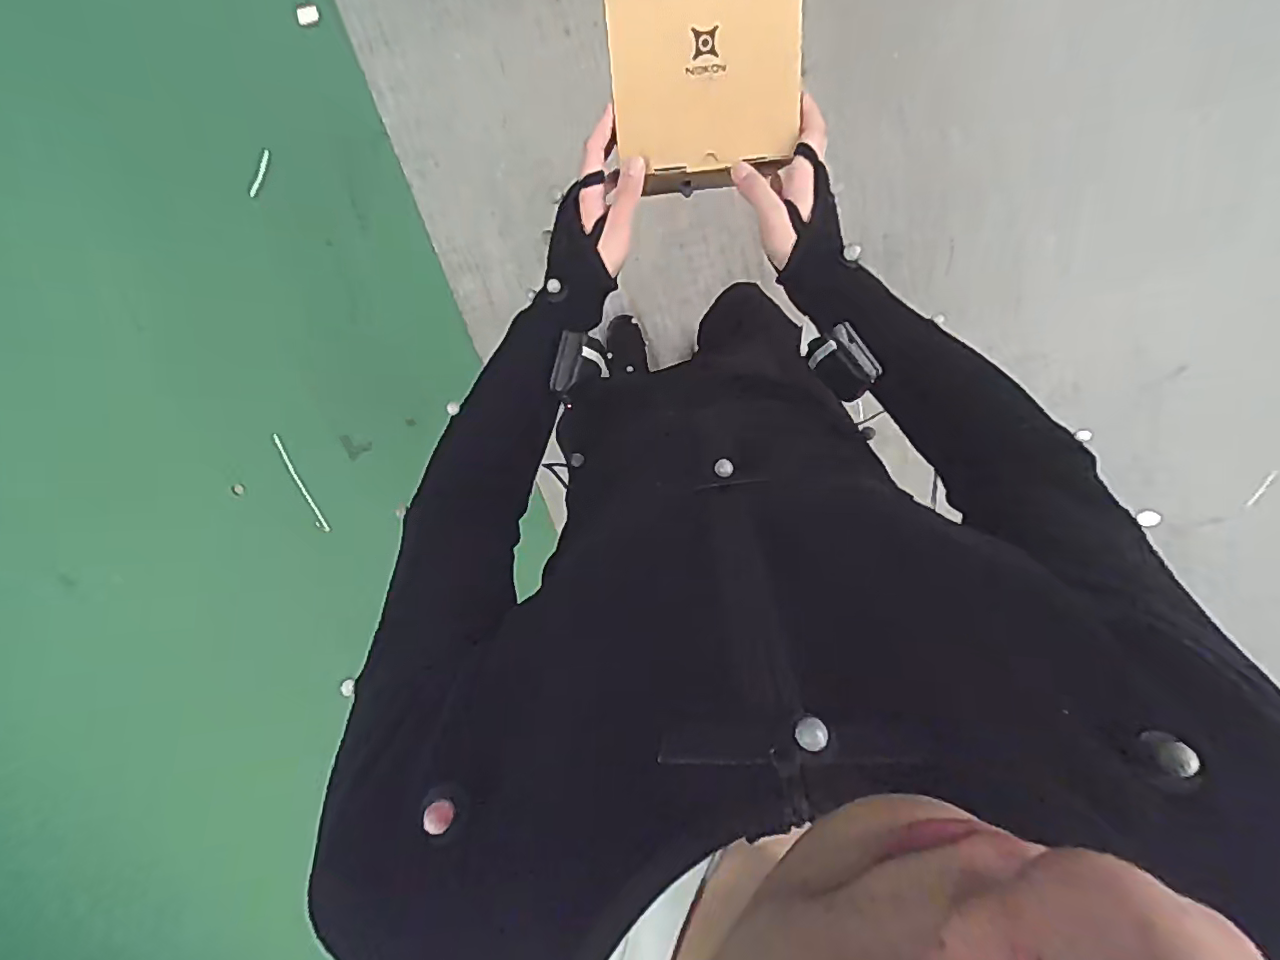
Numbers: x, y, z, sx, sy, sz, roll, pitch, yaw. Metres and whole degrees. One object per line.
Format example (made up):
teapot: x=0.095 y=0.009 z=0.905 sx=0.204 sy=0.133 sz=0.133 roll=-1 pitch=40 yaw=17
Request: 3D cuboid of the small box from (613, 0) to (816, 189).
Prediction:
small box: x=0.062 y=-0.396 z=0.523 sx=0.168 sy=0.176 sz=0.179 roll=-5 pitch=113 yaw=1
